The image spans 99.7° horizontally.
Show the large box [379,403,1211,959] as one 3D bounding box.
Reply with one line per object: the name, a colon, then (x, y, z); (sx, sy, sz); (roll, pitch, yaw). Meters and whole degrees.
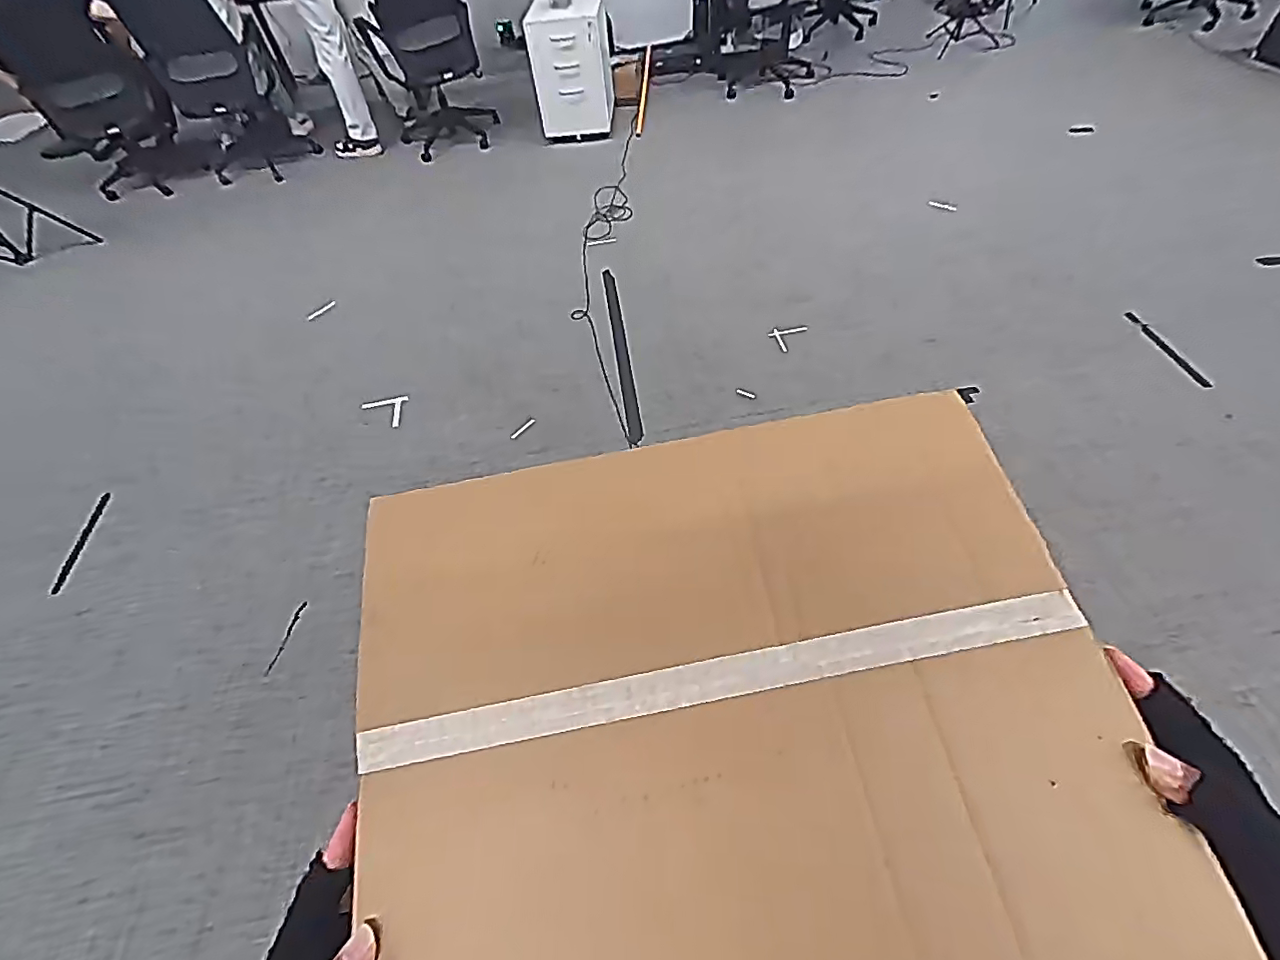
large box: (0.056, 0.184, 0.446); (0.408, 0.320, 0.320); (-11, 64, -1)
